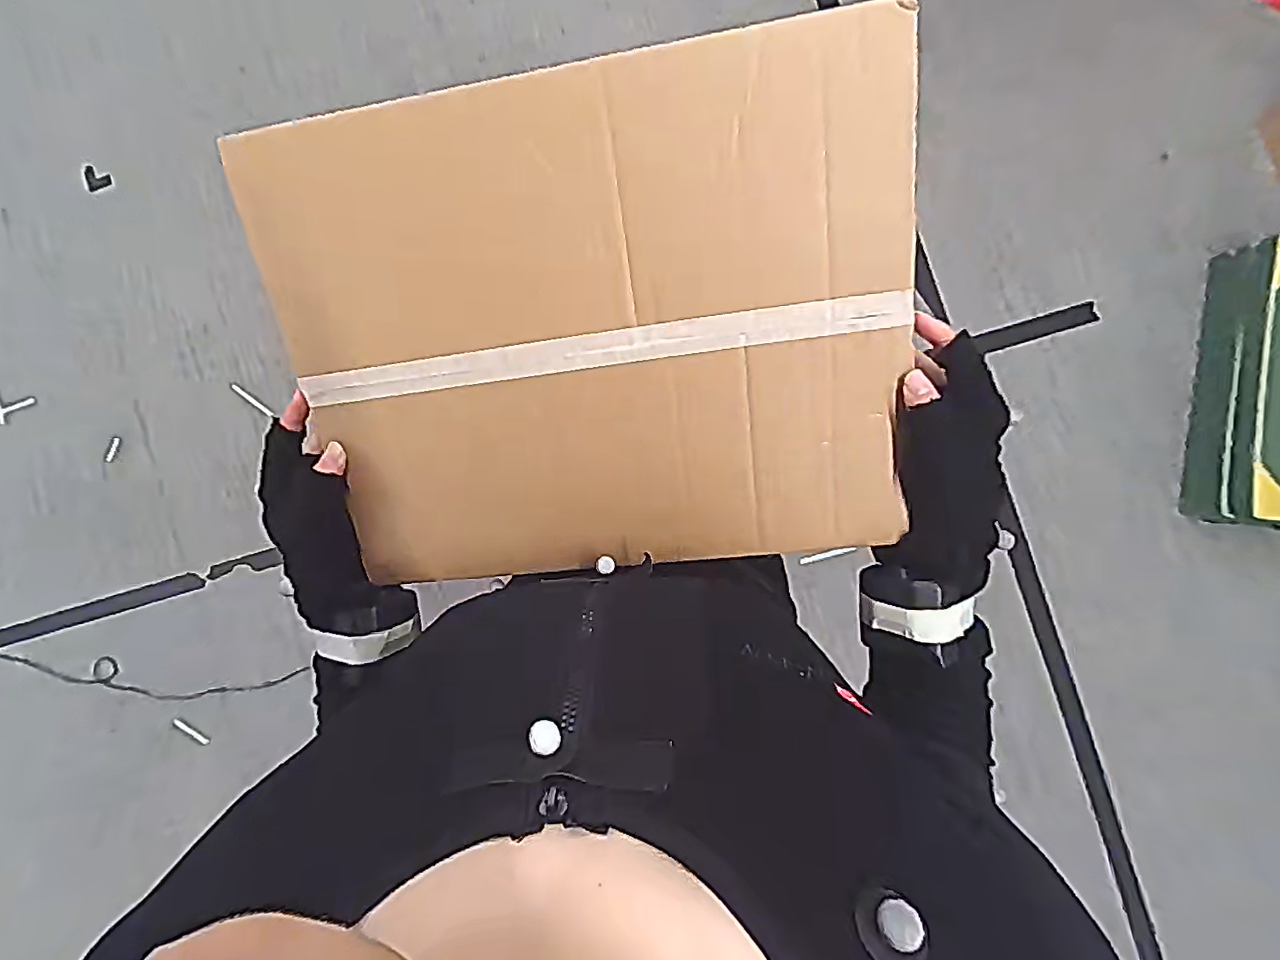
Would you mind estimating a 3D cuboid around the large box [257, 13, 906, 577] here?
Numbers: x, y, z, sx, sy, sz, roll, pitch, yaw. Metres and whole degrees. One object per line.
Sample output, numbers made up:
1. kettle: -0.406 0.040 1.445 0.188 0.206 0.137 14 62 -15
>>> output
1. large box: -0.018 -0.134 0.502 0.408 0.320 0.320 -6 109 8
